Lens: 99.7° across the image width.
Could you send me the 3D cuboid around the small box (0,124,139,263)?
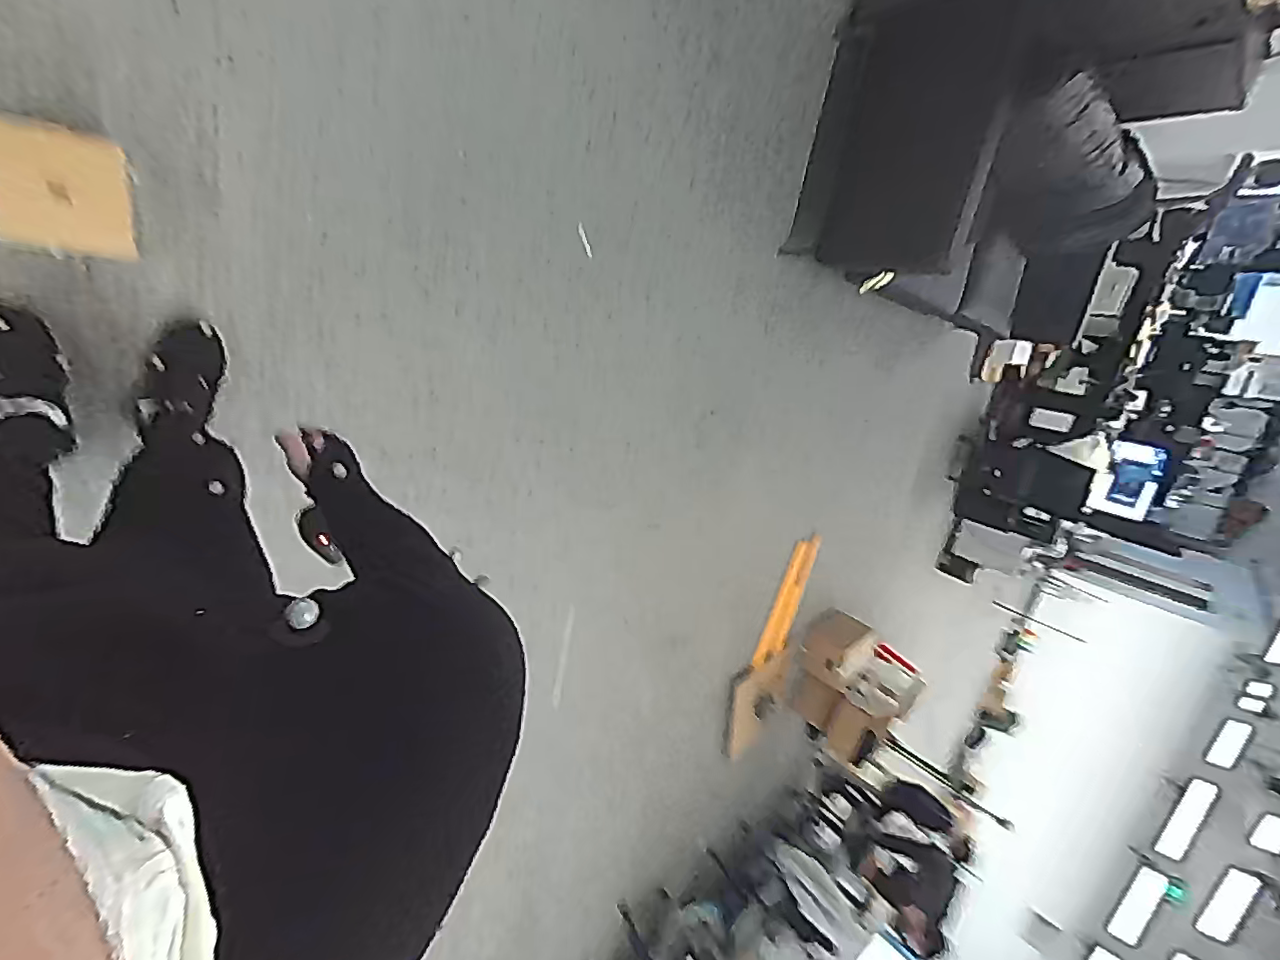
[{"bbox_3d":[-0.972,-0.477,0.918,0.168,0.176,0.179,-7,112,-41],"label":"small box"}]
